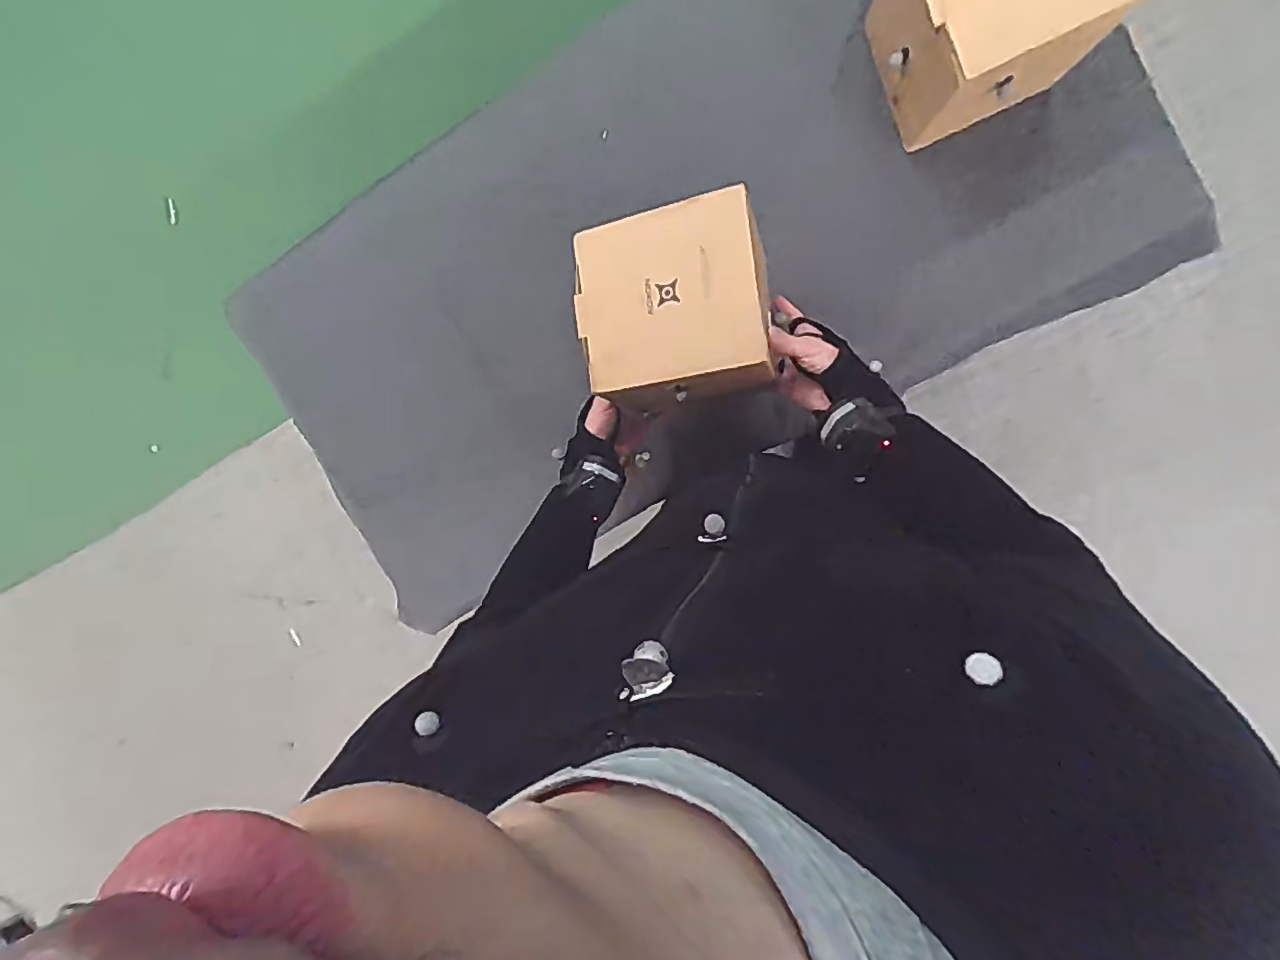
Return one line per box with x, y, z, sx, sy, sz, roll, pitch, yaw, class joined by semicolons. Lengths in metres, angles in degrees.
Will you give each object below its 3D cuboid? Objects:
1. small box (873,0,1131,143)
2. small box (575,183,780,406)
0.369;-0.507;0.580;0.179;0.176;0.168;-21;96;12;small box
0.050;-0.179;0.587;0.179;0.176;0.168;-8;90;17;small box
